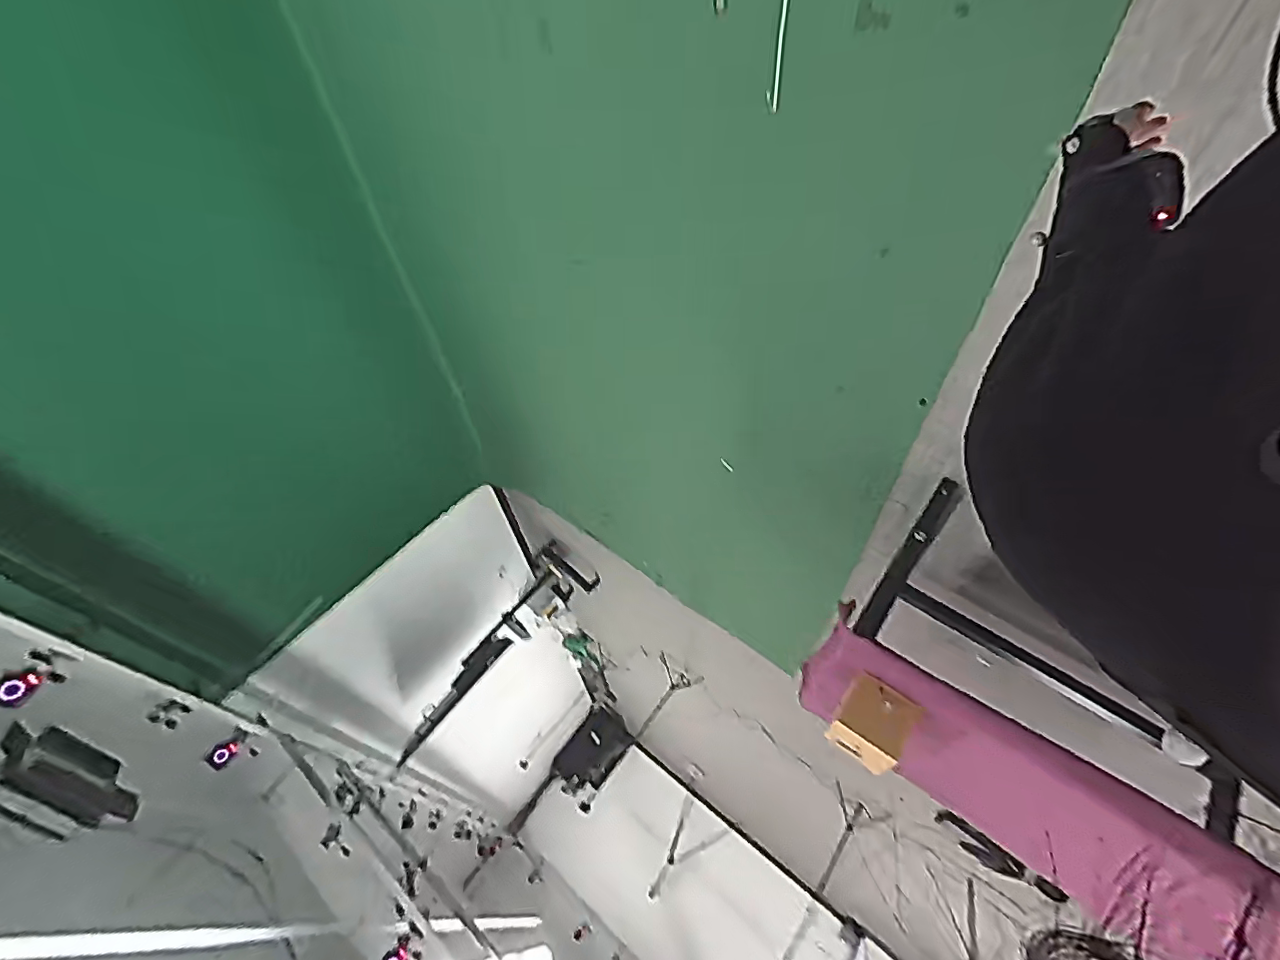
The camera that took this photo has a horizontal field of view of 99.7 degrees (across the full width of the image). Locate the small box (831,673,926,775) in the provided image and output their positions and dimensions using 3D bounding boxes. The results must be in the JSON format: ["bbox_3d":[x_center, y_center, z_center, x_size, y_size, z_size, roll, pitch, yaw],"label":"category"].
[{"bbox_3d":[0.648,0.660,1.470,0.168,0.176,0.179,30,150,24],"label":"small box"}]
